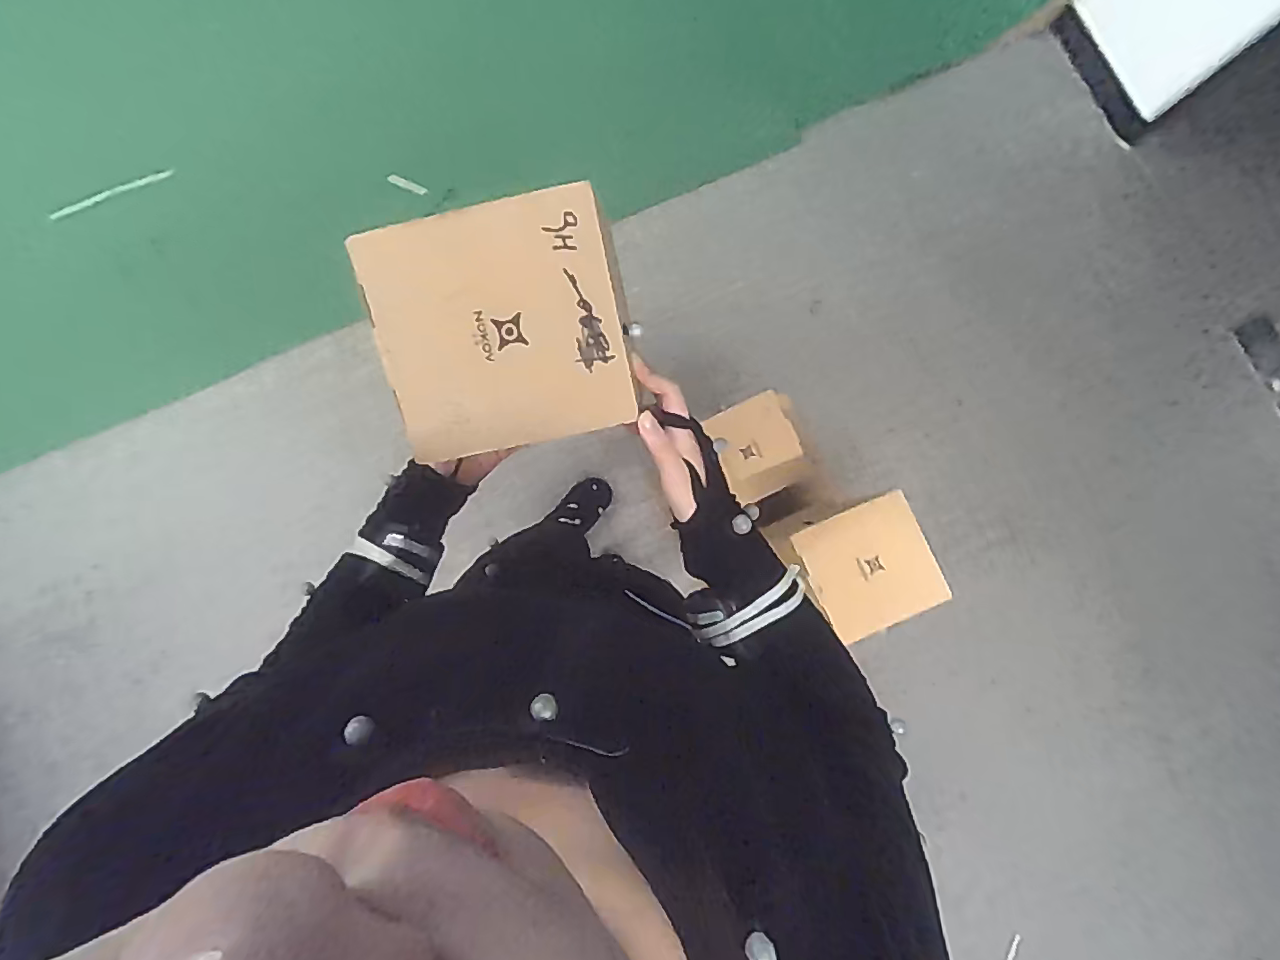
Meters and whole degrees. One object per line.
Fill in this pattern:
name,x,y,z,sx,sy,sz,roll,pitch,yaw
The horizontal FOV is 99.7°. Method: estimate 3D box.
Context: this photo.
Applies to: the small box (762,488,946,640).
small box,0.313,0.123,0.829,0.179,0.176,0.168,-21,83,-5
